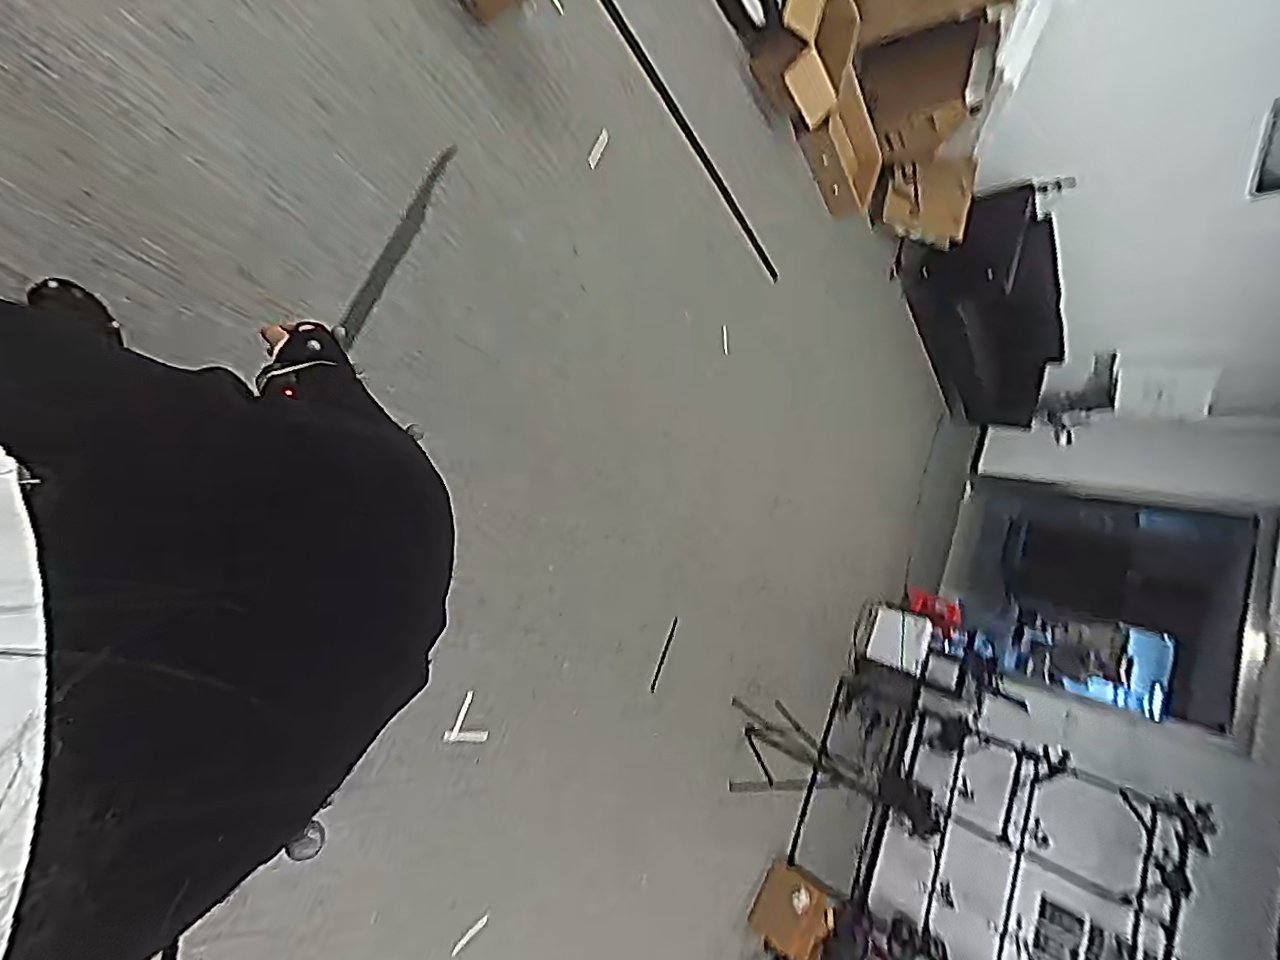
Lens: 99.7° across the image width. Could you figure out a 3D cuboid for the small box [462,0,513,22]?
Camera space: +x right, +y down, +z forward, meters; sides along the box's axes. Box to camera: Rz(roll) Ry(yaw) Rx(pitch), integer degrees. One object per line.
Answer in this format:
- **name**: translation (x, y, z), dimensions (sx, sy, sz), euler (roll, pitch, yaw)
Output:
- **small box**: translation (-0.406, -1.383, 1.430), dimensions (0.168, 0.176, 0.179), euler (31, 77, -45)
